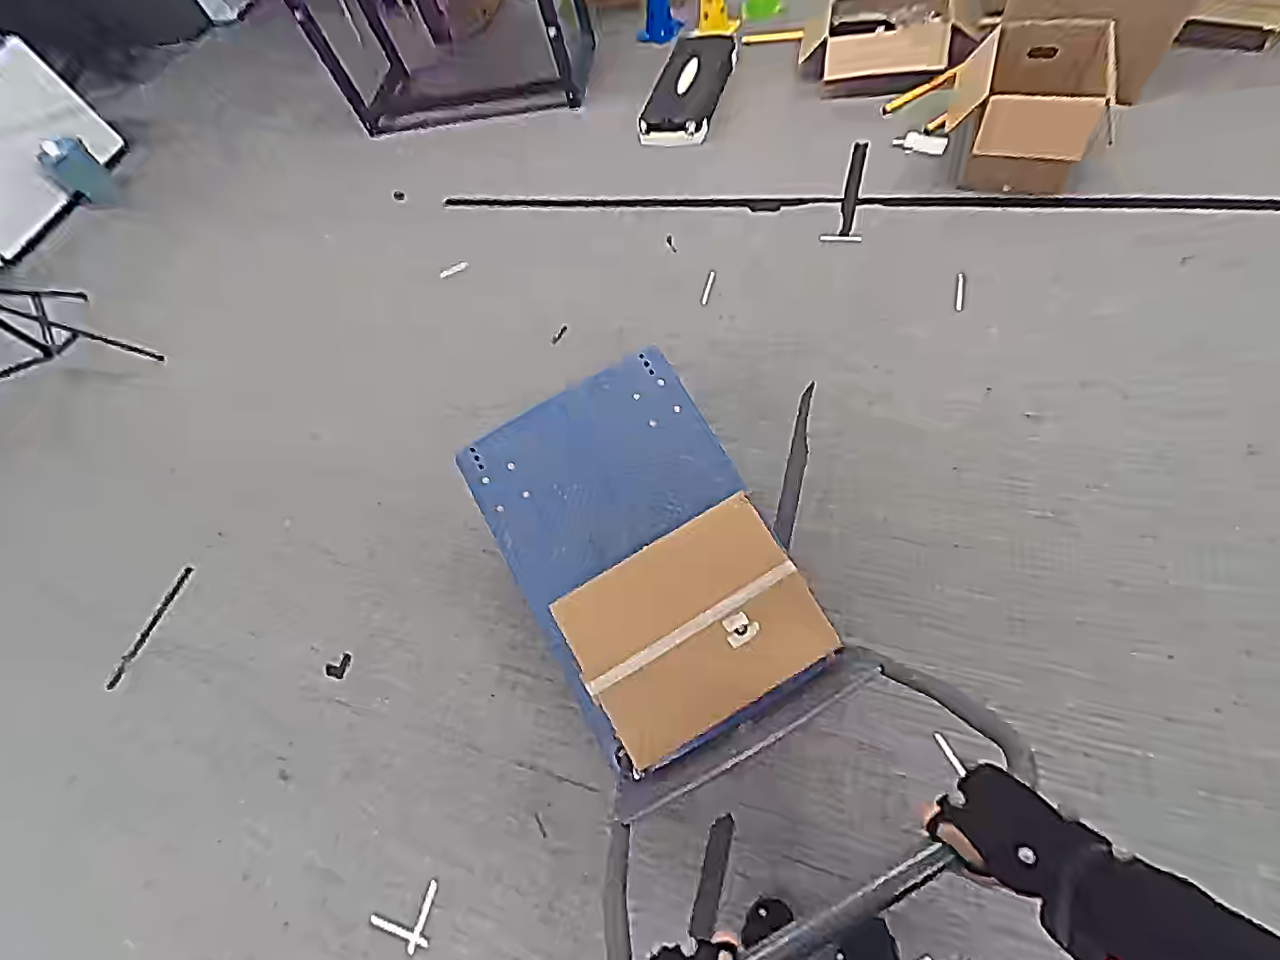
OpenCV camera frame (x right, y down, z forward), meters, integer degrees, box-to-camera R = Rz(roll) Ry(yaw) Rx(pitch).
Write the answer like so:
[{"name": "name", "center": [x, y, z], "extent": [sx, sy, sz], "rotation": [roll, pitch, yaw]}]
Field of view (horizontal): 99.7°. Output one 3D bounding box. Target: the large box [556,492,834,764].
[{"name": "large box", "center": [0.097, 0.281, 1.093], "extent": [0.408, 0.320, 0.320], "rotation": [-31, 80, -5]}]
